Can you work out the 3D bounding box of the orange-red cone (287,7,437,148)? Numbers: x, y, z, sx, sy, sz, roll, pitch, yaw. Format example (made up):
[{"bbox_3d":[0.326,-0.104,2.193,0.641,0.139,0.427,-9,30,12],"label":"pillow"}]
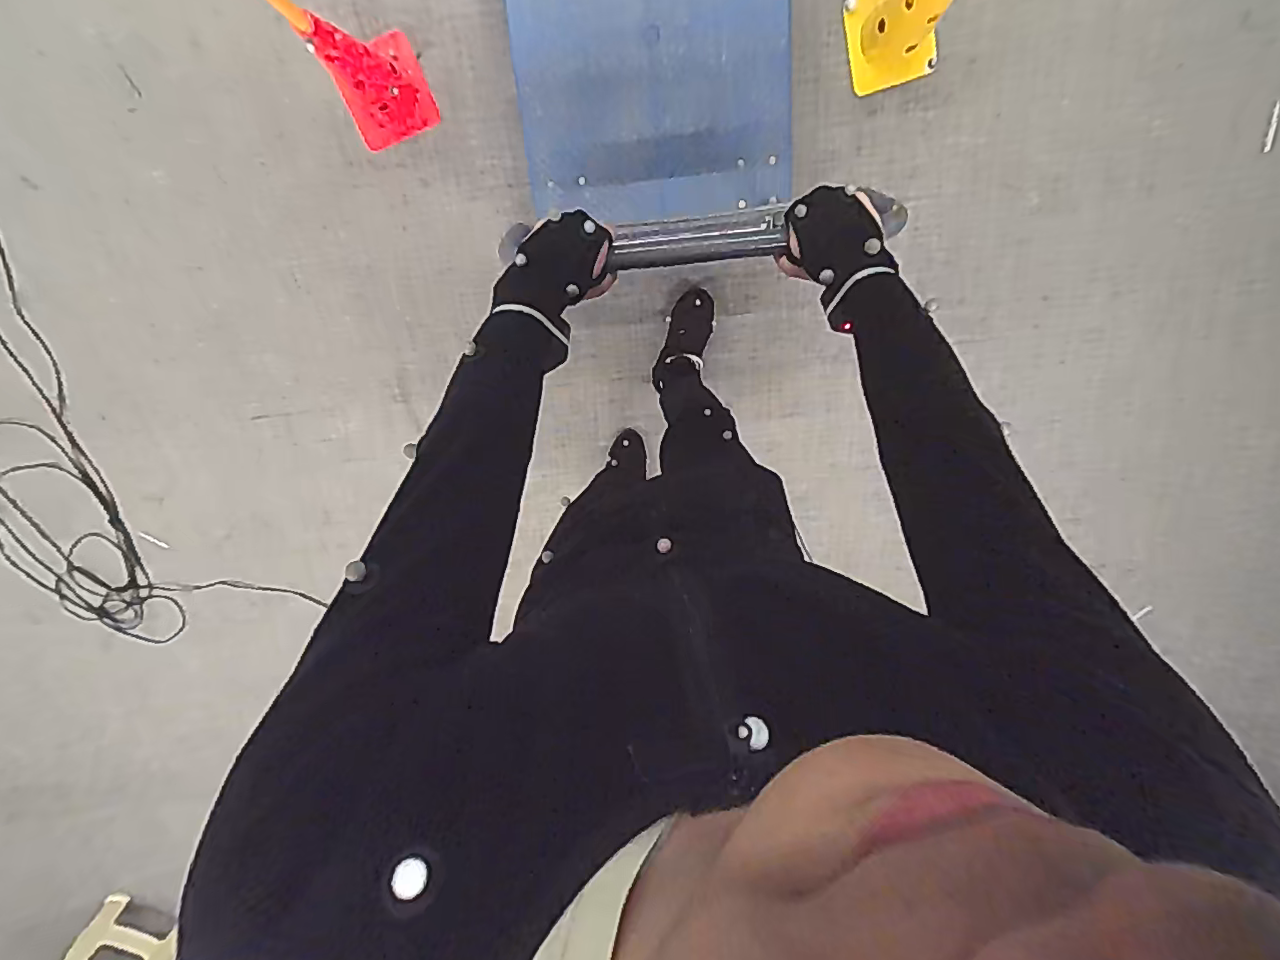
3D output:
[{"bbox_3d":[-0.595,-0.852,1.102,0.199,0.360,0.198,-19,108,7],"label":"orange-red cone"}]
